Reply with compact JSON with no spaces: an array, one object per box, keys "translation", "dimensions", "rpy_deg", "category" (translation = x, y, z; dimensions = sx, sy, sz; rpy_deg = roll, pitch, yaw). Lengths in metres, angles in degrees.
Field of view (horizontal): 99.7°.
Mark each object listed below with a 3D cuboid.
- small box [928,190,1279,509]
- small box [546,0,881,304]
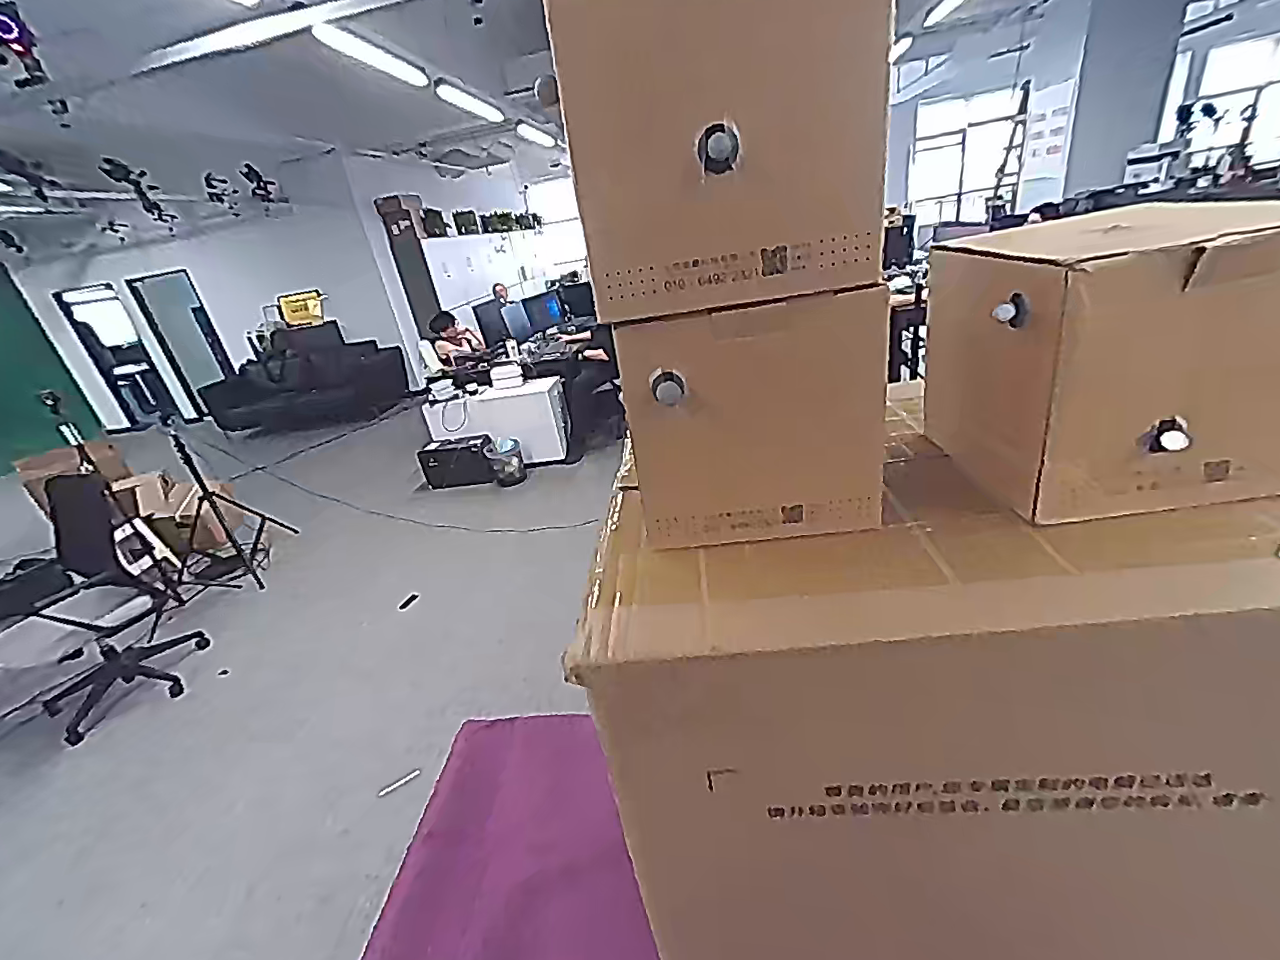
[{"translation":[0.326,-0.098,0.387],"dimensions":[0.168,0.176,0.179],"rpy_deg":[-9,26,6],"category":"small box"},{"translation":[0.047,-0.217,0.353],"dimensions":[0.168,0.176,0.179],"rpy_deg":[-7,25,4],"category":"small box"}]
